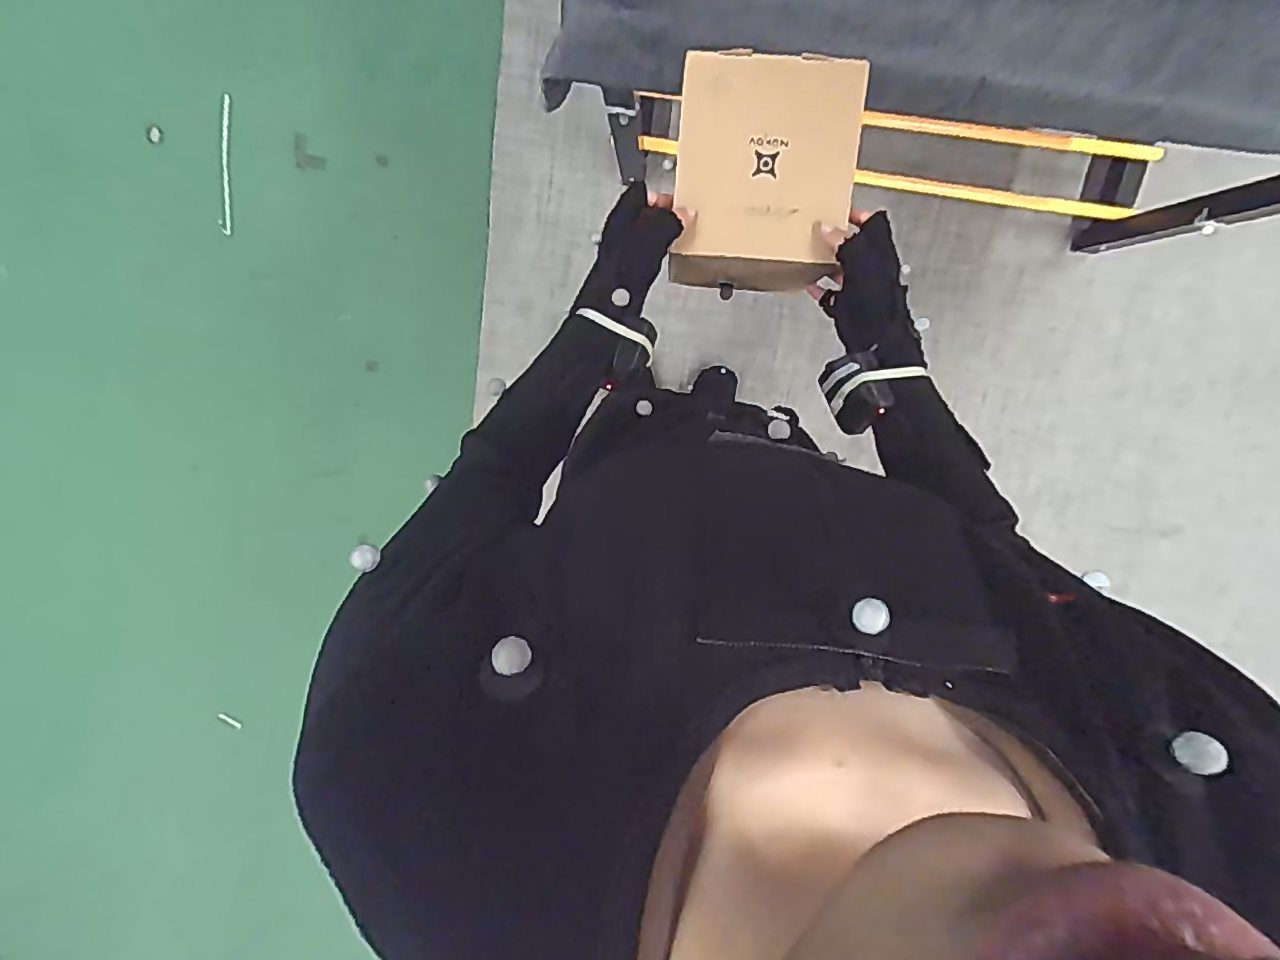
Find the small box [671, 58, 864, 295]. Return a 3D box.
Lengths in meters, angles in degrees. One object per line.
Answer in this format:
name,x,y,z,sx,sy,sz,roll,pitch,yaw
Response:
small box,0.122,-0.309,0.586,0.168,0.176,0.179,4,100,3
